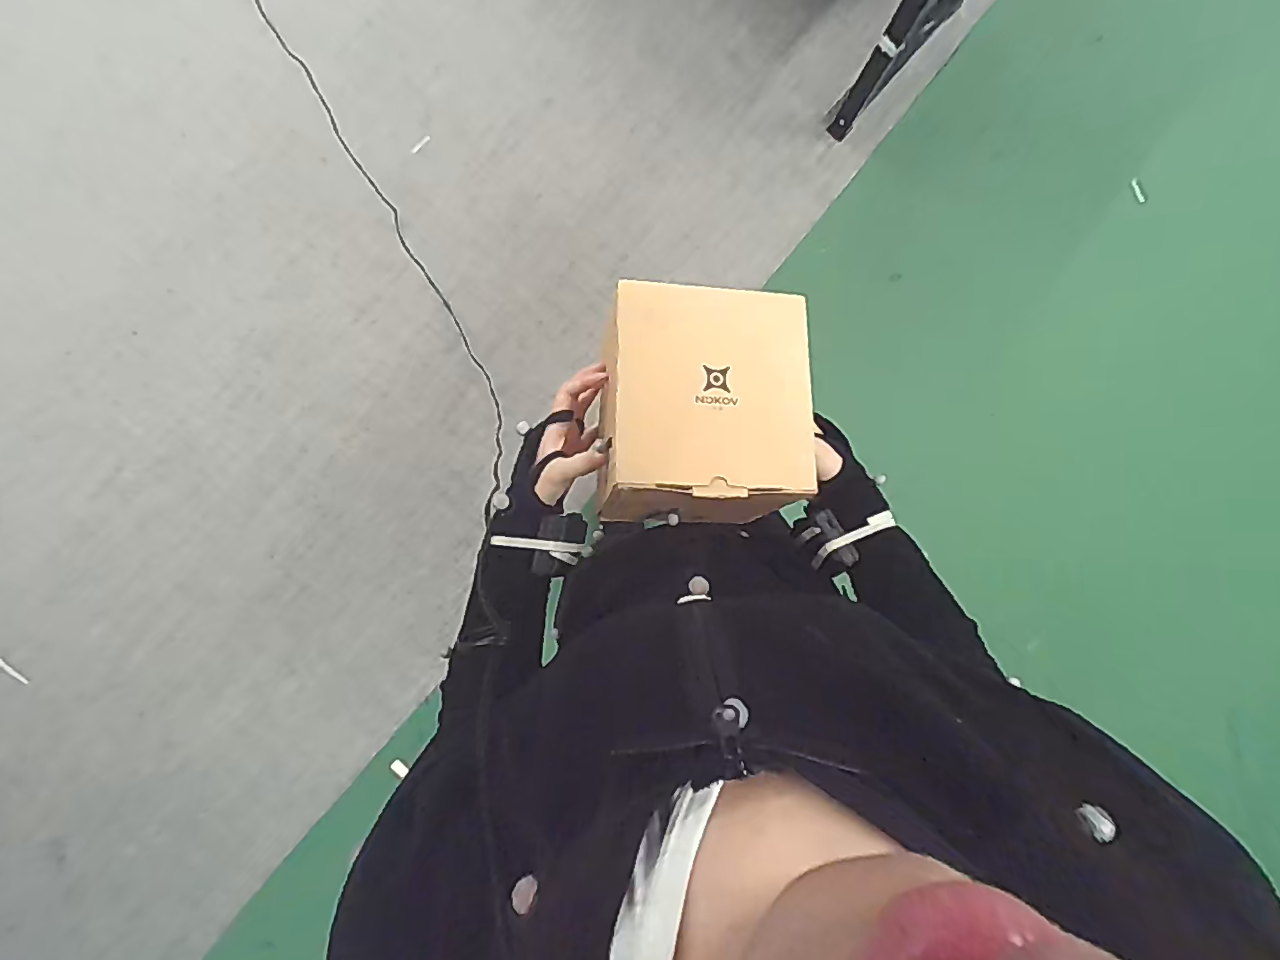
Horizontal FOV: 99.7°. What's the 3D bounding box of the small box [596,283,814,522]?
[{"bbox_3d":[0.047,-0.060,0.520,0.168,0.176,0.179,2,78,-10],"label":"small box"}]
